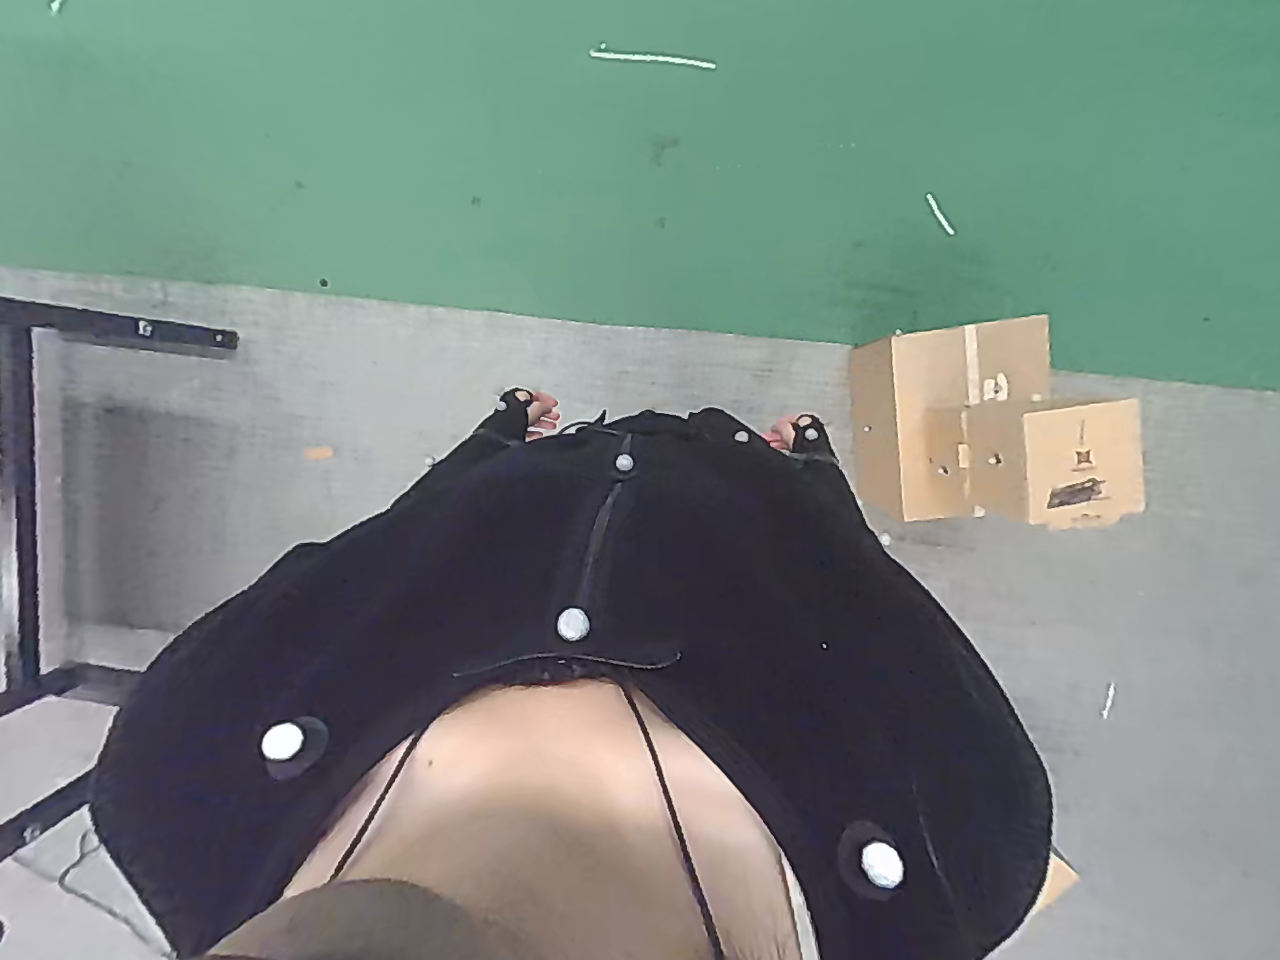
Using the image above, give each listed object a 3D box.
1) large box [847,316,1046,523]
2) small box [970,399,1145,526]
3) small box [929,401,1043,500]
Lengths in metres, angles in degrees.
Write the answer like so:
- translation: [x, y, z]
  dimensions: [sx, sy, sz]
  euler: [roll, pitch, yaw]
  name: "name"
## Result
- translation: [0.705, -0.135, 1.280]
  dimensions: [0.320, 0.320, 0.408]
  euler: [-7, 96, 4]
  name: "large box"
- translation: [0.668, -0.035, 0.882]
  dimensions: [0.168, 0.176, 0.179]
  euler: [-8, 97, 6]
  name: "small box"
- translation: [0.678, -0.060, 1.044]
  dimensions: [0.179, 0.176, 0.168]
  euler: [-6, 97, 6]
  name: "small box"
